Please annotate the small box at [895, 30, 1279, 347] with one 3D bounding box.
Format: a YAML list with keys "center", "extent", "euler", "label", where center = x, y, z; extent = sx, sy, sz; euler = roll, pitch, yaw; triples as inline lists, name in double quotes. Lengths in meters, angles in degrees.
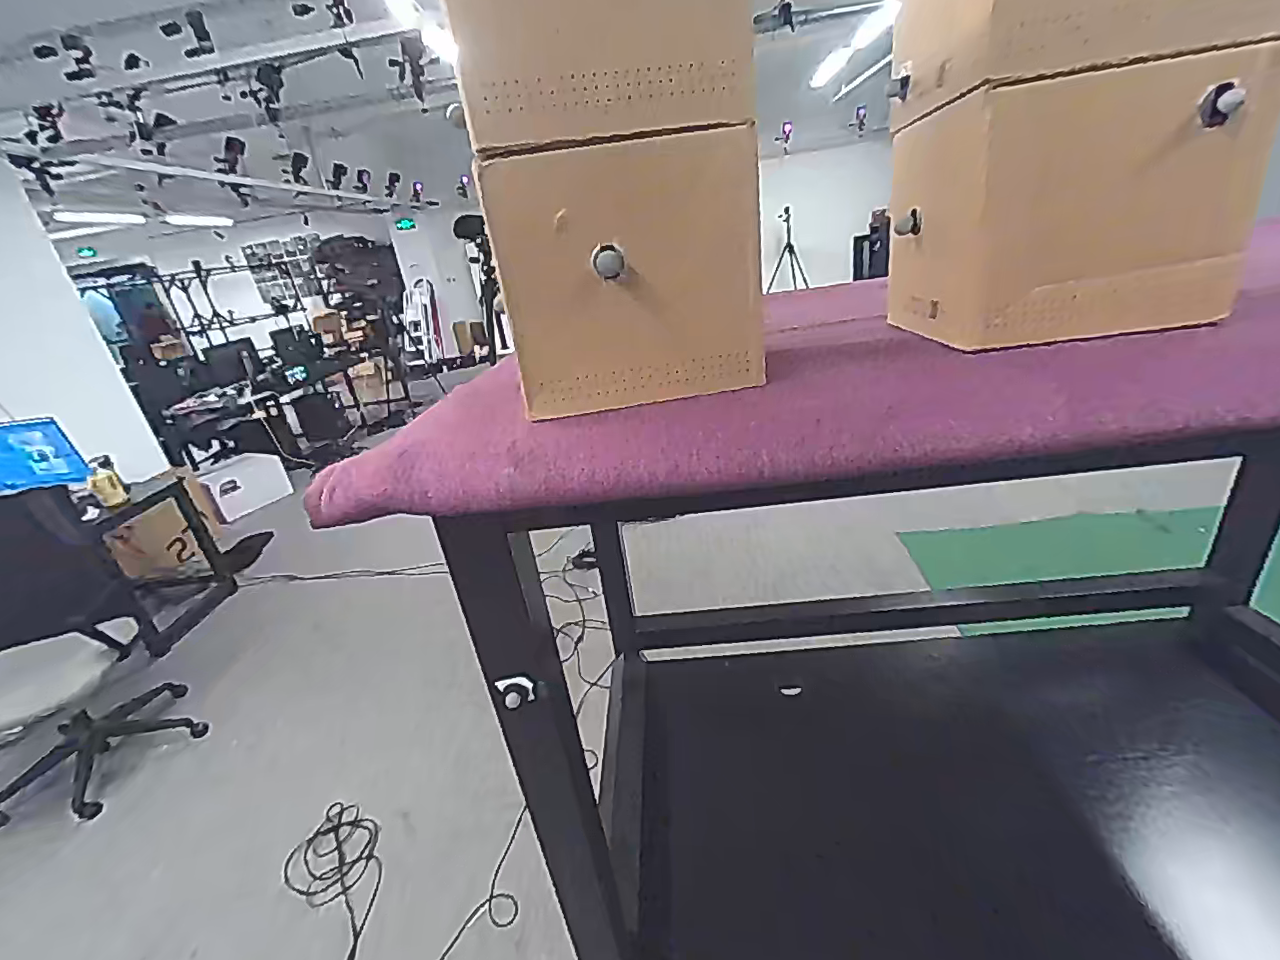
- center: [0.316, -0.206, 0.423]
  extent: [0.179, 0.176, 0.168]
  euler: [-5, 23, 6]
  label: "small box"

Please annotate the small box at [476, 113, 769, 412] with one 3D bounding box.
- center: [-0.009, -0.160, 0.424]
  extent: [0.179, 0.176, 0.168]
  euler: [-10, 25, -3]
  label: "small box"

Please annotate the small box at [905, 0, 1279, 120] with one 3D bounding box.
- center: [0.295, -0.357, 0.363]
  extent: [0.179, 0.176, 0.168]
  euler: [-4, 23, 6]
  label: "small box"

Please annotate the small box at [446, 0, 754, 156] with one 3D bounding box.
- center: [-0.031, -0.308, 0.357]
  extent: [0.179, 0.176, 0.168]
  euler: [-11, 24, -6]
  label: "small box"
